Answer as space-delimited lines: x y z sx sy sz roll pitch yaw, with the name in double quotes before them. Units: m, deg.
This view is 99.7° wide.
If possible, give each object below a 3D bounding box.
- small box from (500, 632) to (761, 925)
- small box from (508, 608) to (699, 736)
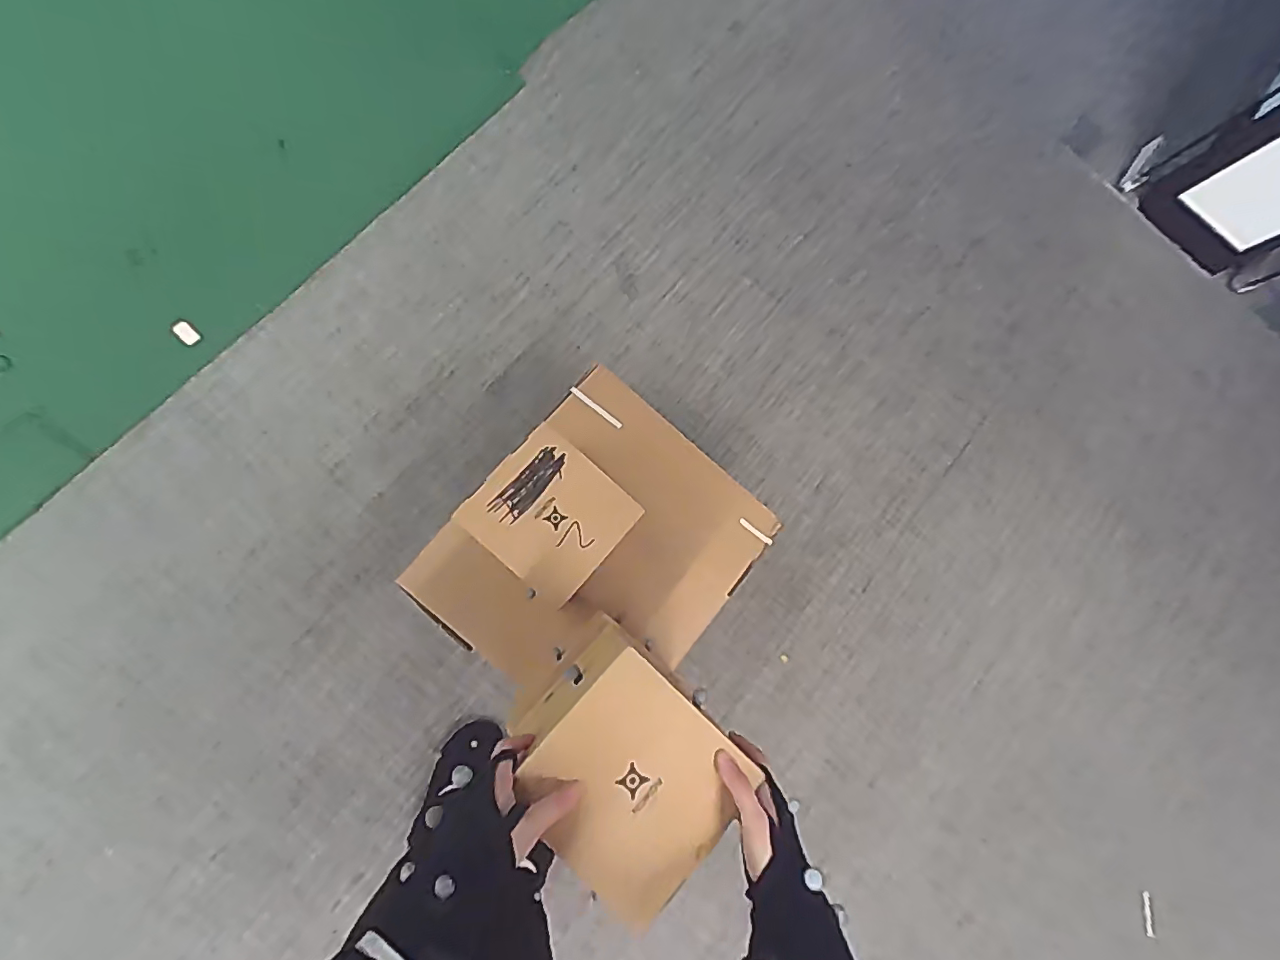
"small box" -0.019 0.273 0.549 0.179 0.176 0.168 44 78 -2
"small box" -0.056 0.290 0.720 0.168 0.176 0.179 43 77 -2
